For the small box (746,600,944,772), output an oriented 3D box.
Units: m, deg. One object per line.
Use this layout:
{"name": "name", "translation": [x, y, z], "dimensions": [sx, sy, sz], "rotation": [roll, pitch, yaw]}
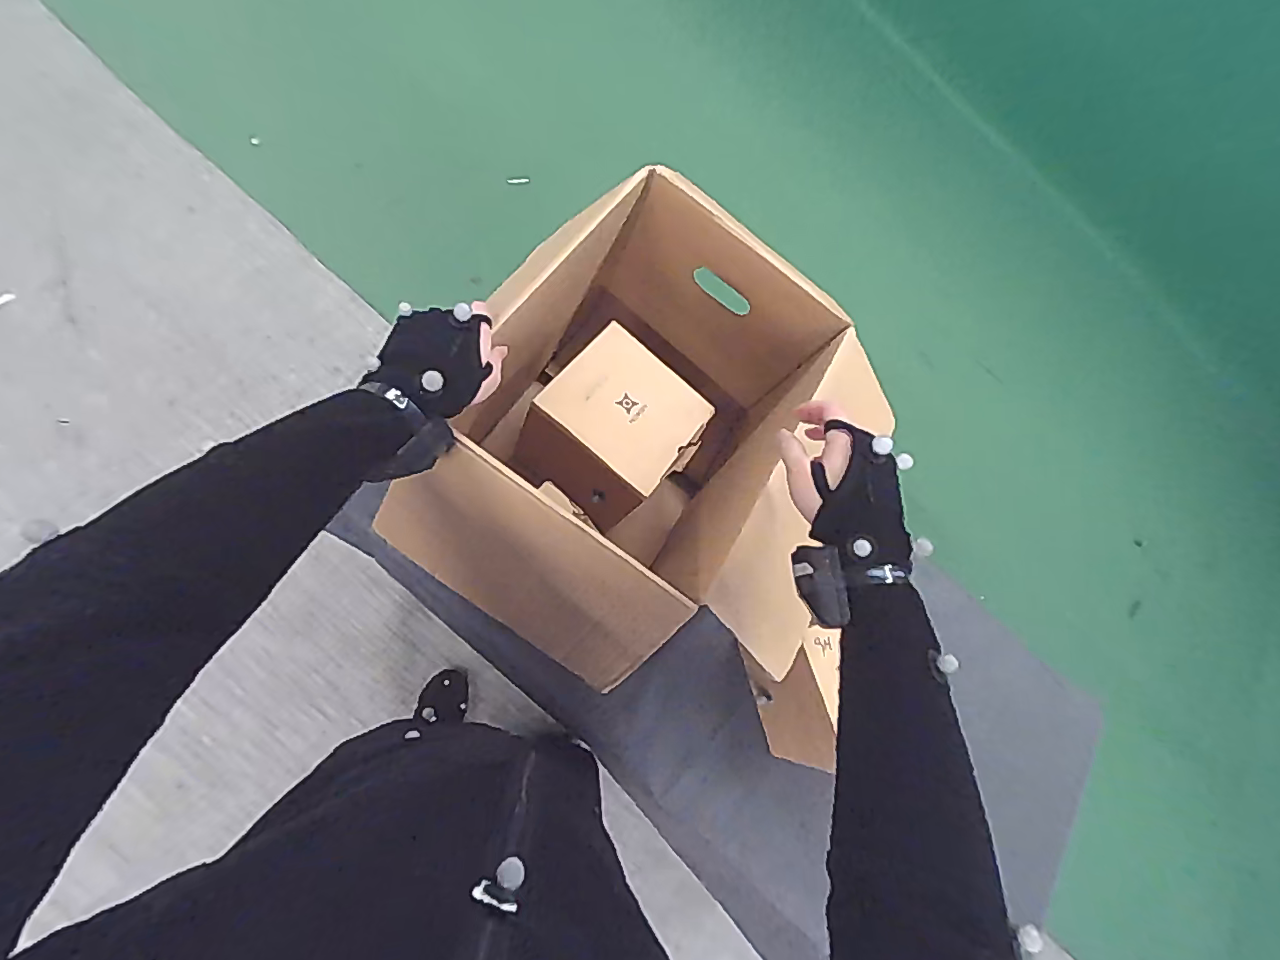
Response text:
{"name": "small box", "translation": [0.275, 0.276, 0.761], "dimensions": [0.168, 0.176, 0.179], "rotation": [-10, 77, -20]}
